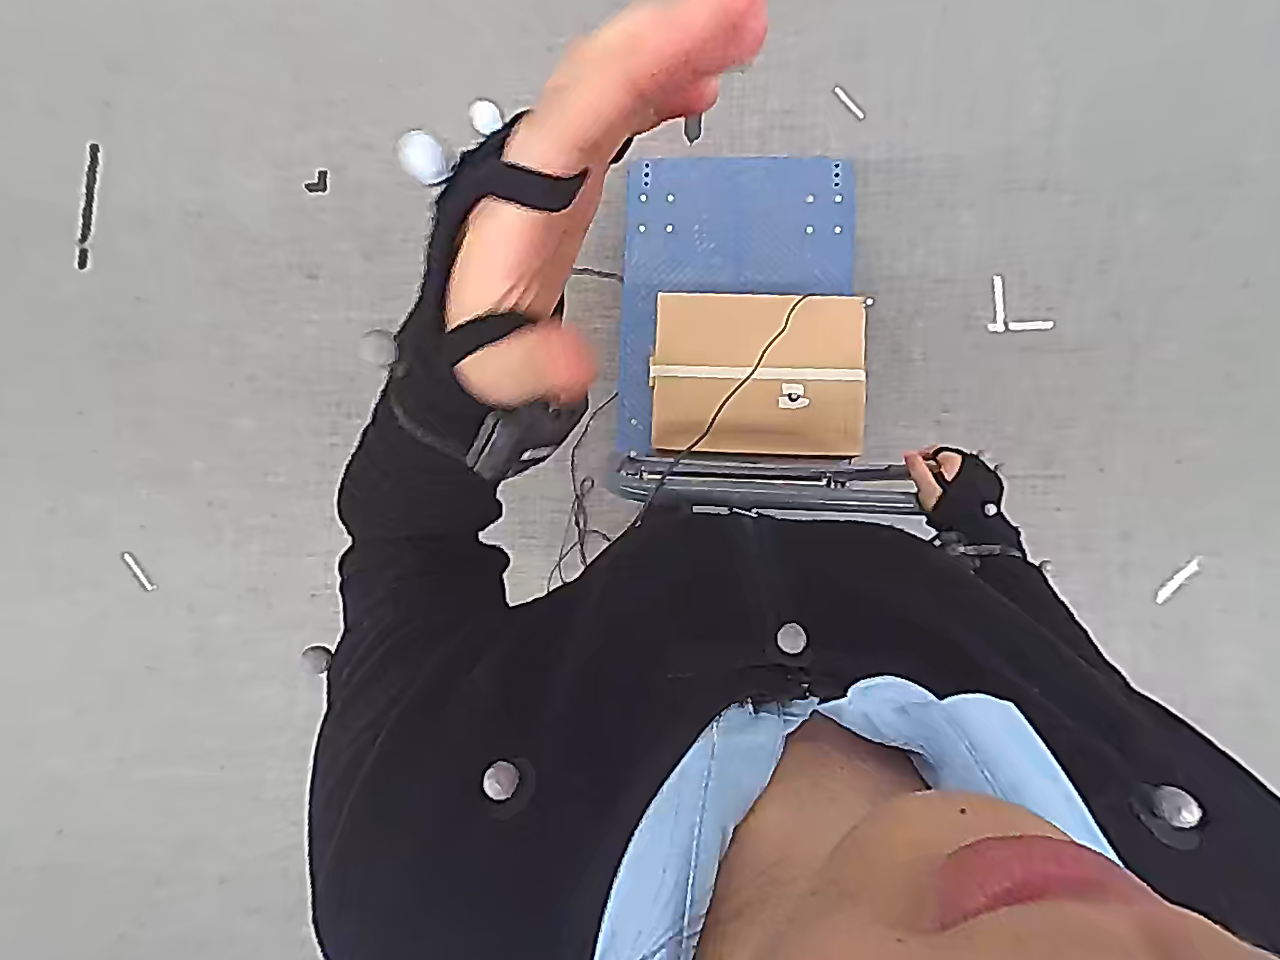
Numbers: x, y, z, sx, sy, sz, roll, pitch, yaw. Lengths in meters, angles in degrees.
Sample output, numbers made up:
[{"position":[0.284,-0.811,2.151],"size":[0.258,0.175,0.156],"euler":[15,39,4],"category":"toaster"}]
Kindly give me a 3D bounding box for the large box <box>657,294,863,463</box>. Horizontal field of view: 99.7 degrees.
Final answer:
[{"position":[0.239,-0.204,1.205],"size":[0.408,0.320,0.320],"euler":[2,88,2],"category":"large box"}]
